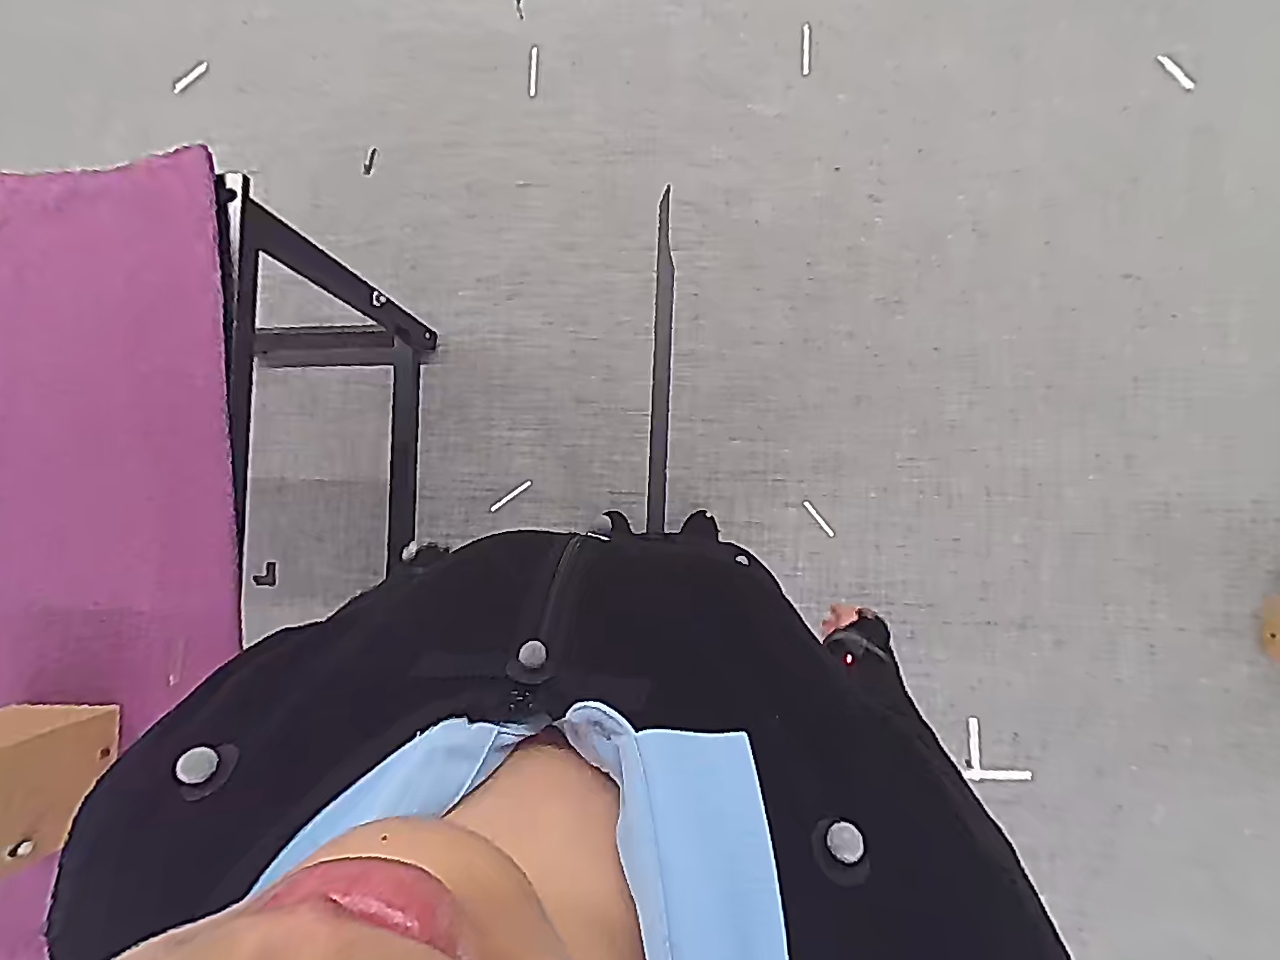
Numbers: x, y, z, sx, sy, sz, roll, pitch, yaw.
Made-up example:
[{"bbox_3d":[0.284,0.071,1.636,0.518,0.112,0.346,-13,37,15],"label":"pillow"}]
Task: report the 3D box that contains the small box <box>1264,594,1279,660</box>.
[{"bbox_3d":[1.680,0.373,1.305,0.179,0.176,0.168,4,87,3],"label":"small box"}]
